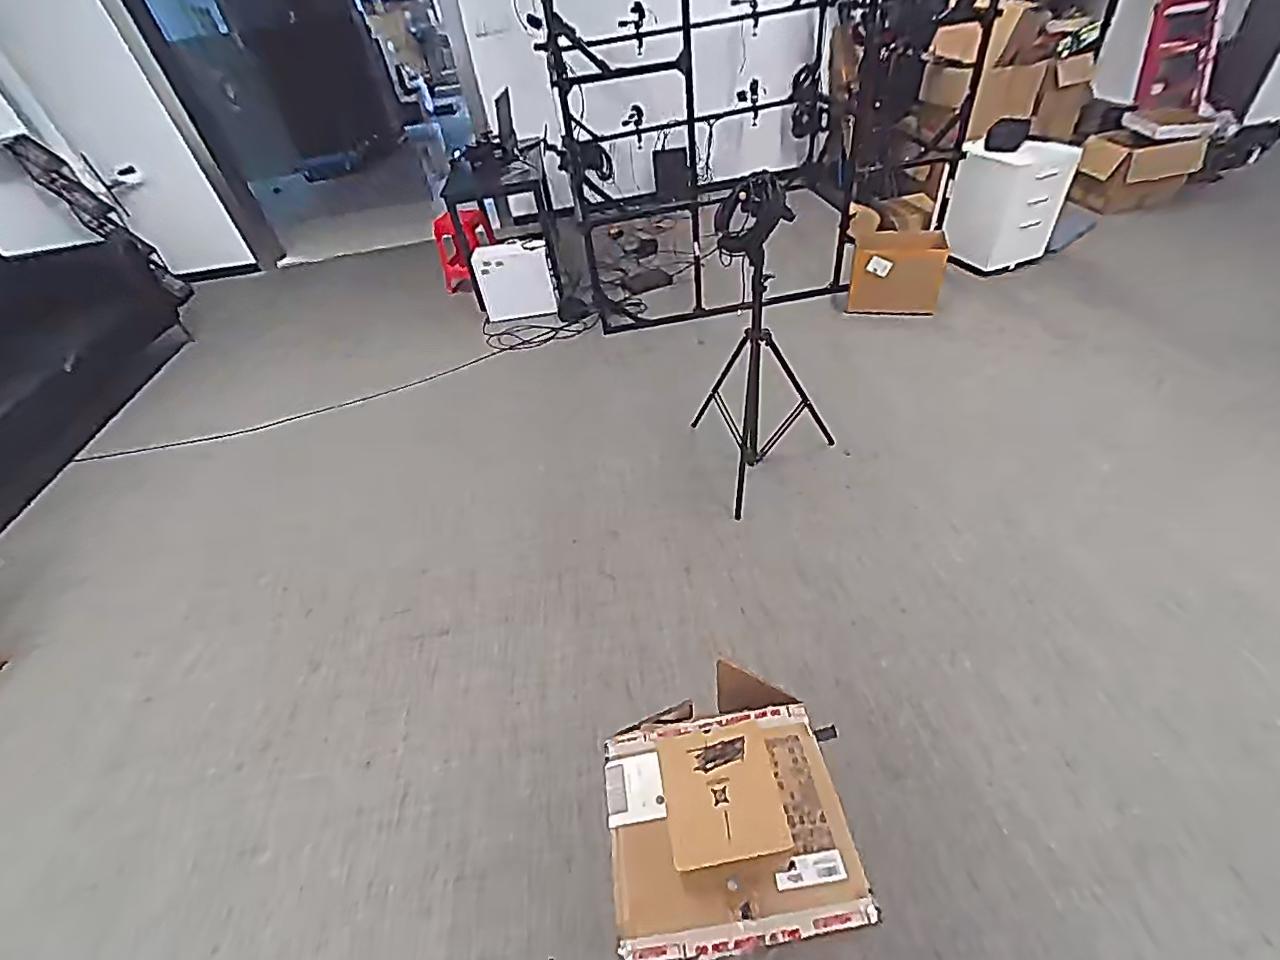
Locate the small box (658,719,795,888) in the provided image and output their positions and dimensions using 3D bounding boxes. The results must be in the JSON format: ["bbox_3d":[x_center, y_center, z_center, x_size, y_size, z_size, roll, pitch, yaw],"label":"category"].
[{"bbox_3d":[0.126,0.502,0.839,0.168,0.176,0.179,-11,46,-1],"label":"small box"}]
